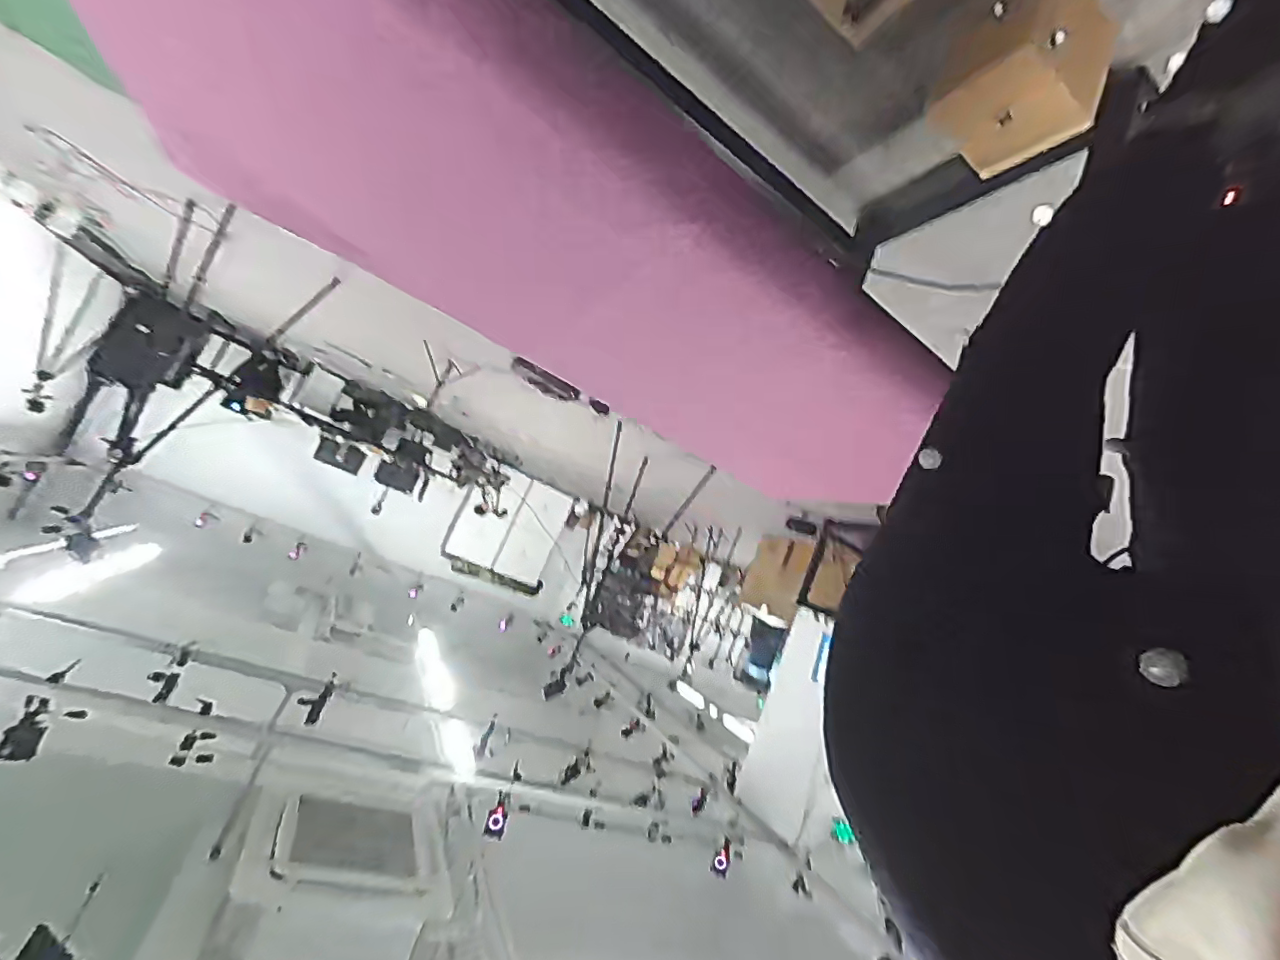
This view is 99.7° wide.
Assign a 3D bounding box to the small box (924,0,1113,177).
[{"bbox_3d":[0.595,-0.636,0.851,0.179,0.176,0.168,28,169,-23],"label":"small box"}]
